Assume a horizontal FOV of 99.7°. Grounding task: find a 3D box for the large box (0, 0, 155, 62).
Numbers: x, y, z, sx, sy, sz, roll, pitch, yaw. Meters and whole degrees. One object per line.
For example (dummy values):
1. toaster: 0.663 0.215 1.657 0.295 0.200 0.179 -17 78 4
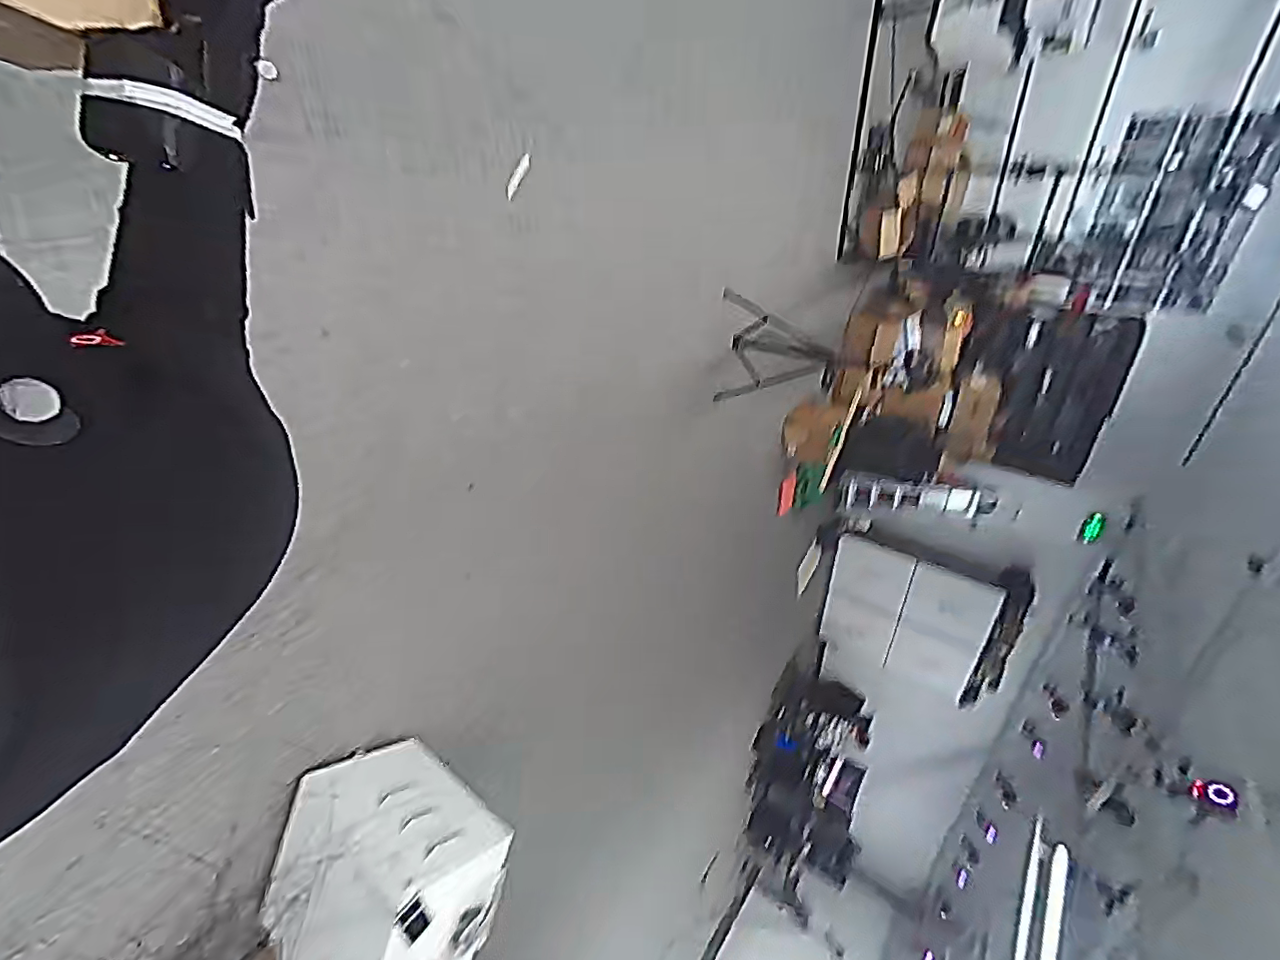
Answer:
1. large box: -0.518 -0.451 0.226 0.408 0.320 0.320 -10 121 -58
